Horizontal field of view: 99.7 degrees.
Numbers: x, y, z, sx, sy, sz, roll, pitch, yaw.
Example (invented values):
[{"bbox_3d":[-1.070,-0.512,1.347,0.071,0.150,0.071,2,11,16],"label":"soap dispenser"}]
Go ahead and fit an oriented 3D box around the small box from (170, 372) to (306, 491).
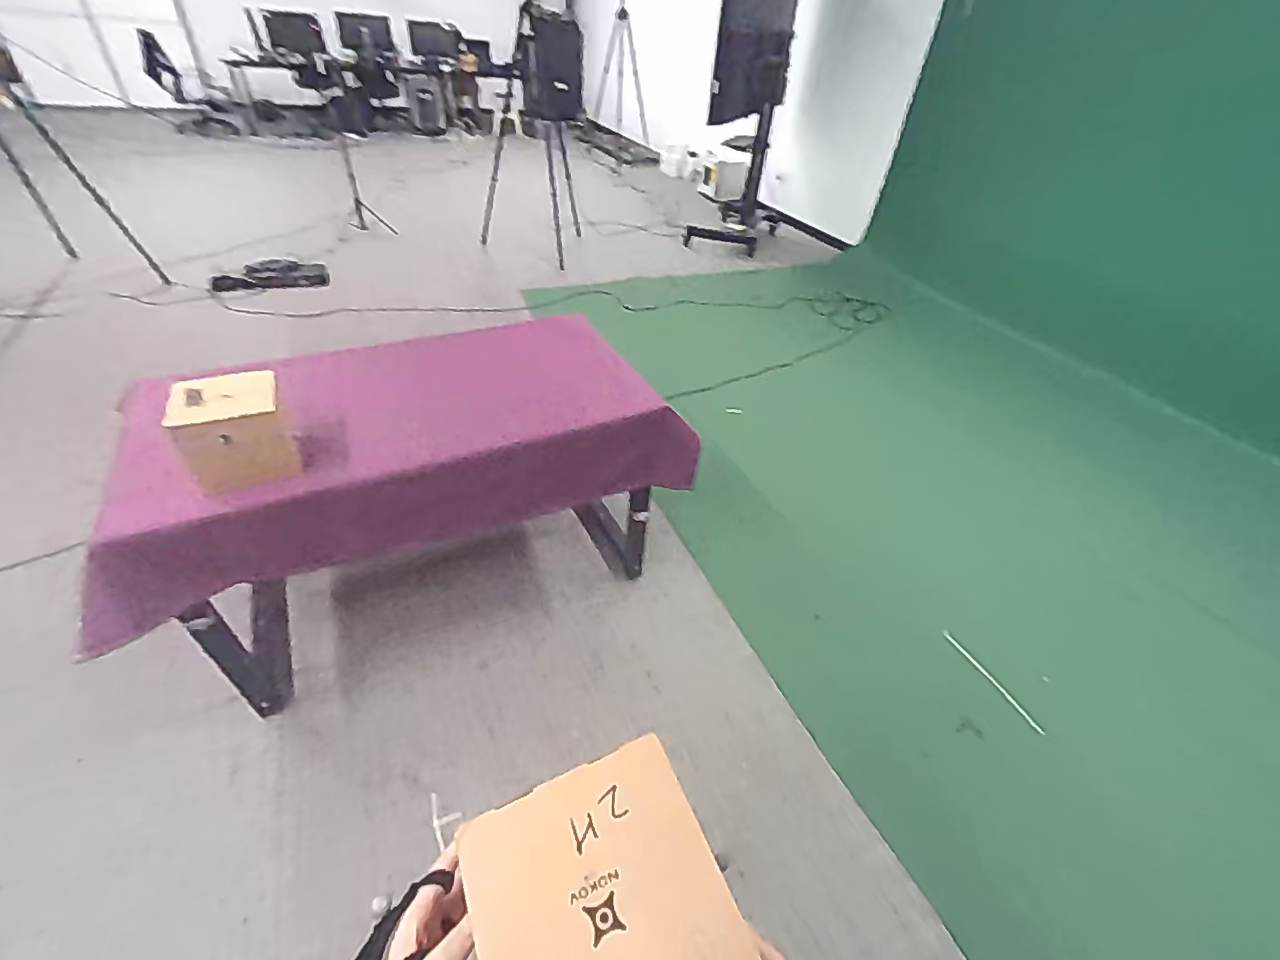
[{"bbox_3d":[-0.815,-0.098,1.114,0.179,0.176,0.168,-15,45,-23],"label":"small box"}]
